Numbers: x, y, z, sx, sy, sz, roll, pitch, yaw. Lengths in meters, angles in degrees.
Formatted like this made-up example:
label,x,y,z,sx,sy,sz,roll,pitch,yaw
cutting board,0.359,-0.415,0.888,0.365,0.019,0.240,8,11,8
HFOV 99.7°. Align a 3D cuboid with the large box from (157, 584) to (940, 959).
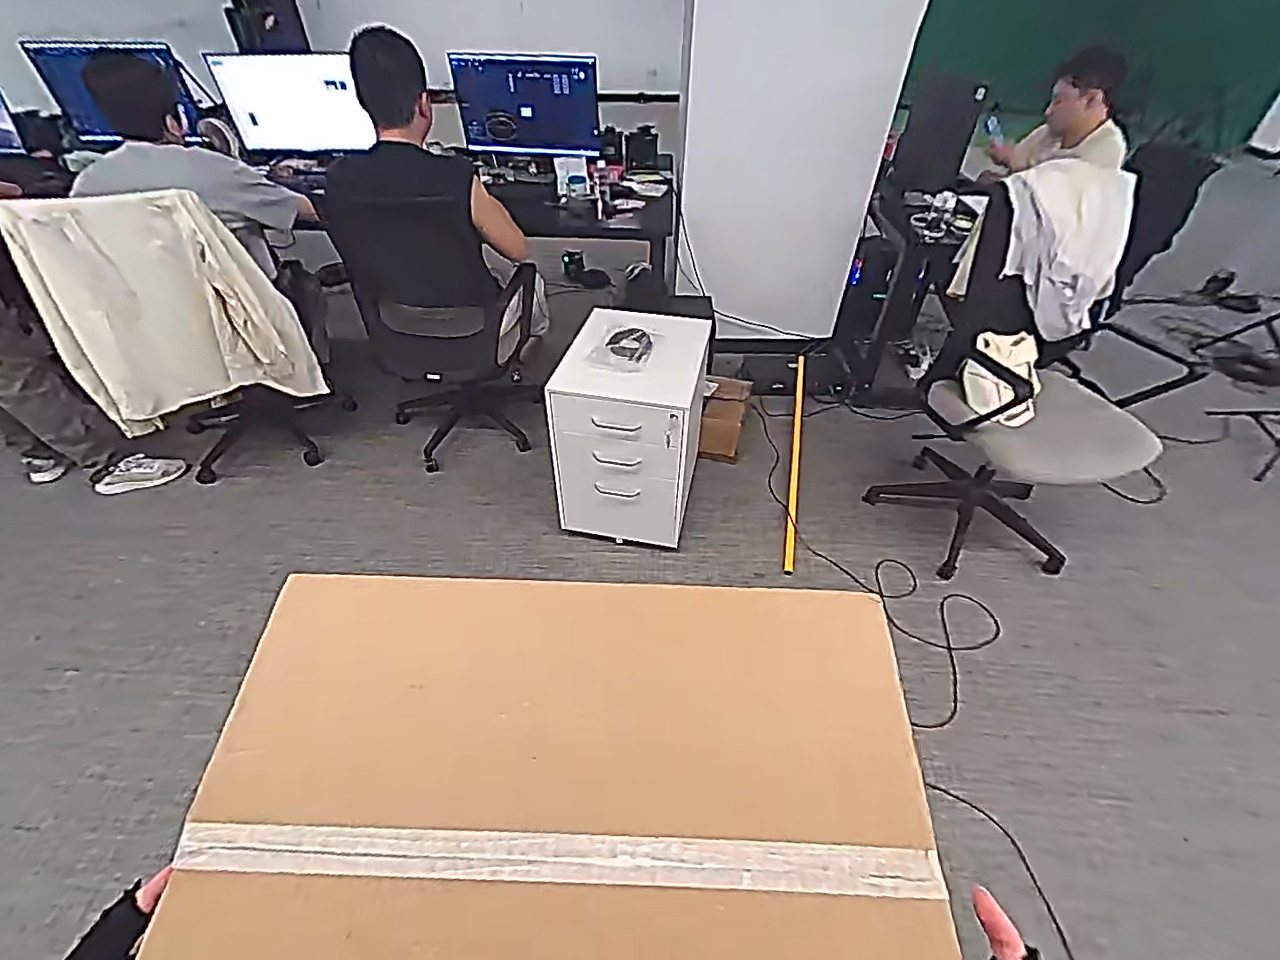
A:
label,x,y,z,sx,sy,sz,roll,pitch,yaw
large box,-0.045,0.287,0.422,0.408,0.320,0.320,2,58,2
